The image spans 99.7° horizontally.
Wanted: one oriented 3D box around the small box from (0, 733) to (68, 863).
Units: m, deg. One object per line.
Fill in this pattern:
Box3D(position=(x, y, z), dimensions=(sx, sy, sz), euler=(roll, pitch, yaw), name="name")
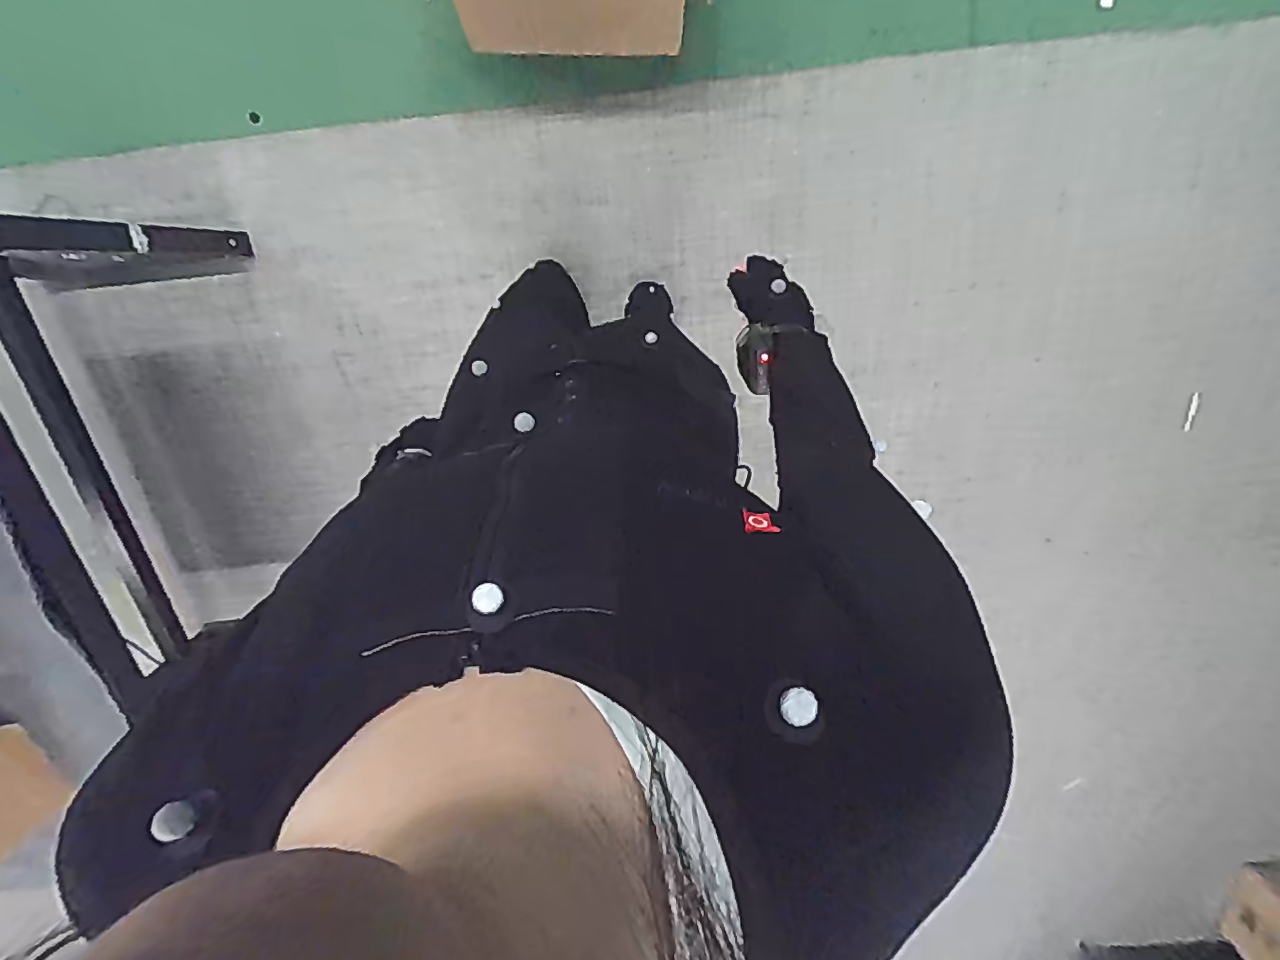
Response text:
Box3D(position=(-1.122, 0.537, 0.878), dimensions=(0.168, 0.176, 0.179), euler=(-10, 111, 4), name="small box")
